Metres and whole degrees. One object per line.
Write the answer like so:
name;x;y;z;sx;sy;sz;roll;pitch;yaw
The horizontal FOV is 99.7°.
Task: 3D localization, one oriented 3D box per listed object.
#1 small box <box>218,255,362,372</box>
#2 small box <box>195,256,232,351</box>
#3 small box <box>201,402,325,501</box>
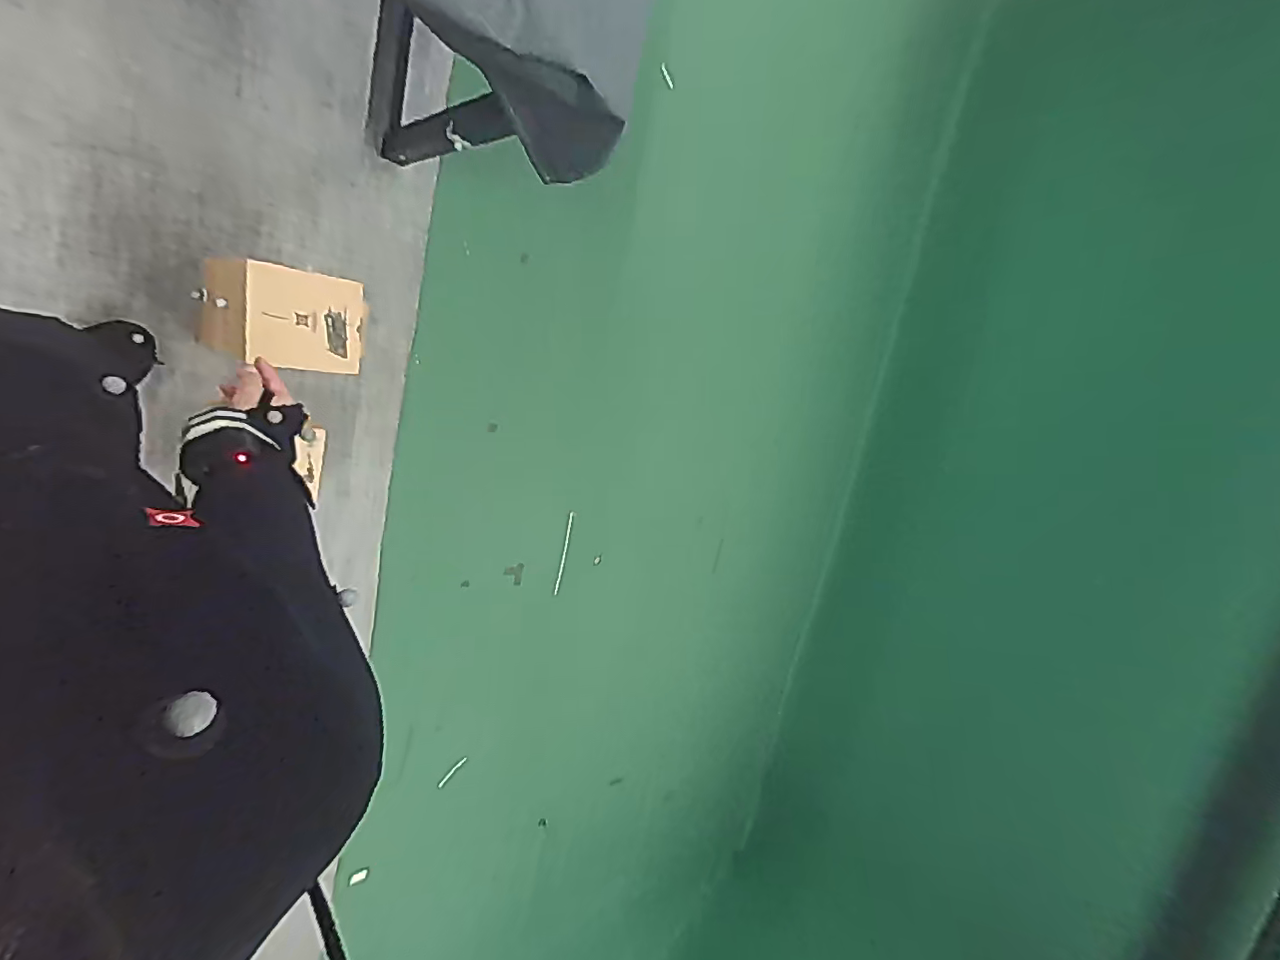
small box;-0.622;-0.294;0.961;0.179;0.176;0.168;-4;107;-47
small box;-0.745;-0.335;1.061;0.179;0.176;0.168;-4;107;-48
small box;-0.789;-0.061;1.126;0.179;0.176;0.168;4;103;-48
